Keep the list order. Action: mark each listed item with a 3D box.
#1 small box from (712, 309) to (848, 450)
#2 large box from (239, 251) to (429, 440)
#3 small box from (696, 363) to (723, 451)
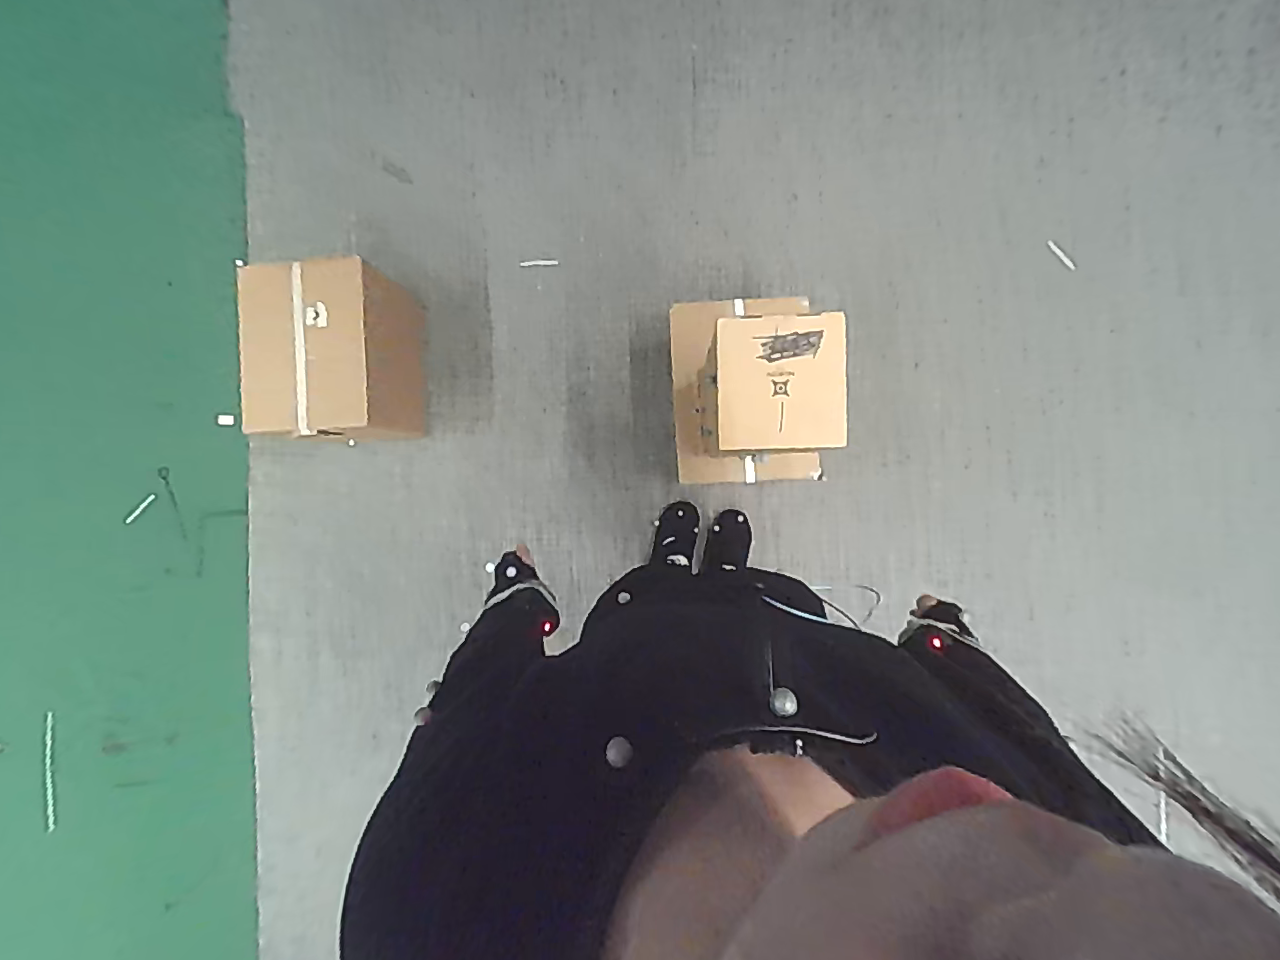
[{"bbox_3d":[0.191,-0.134,0.778,0.168,0.176,0.179,-1,92,5],"label":"small box"},{"bbox_3d":[-0.777,-0.326,1.414,0.320,0.320,0.408,-3,89,4],"label":"large box"},{"bbox_3d":[0.209,-0.148,1.107,0.179,0.176,0.168,-4,90,5],"label":"small box"}]
